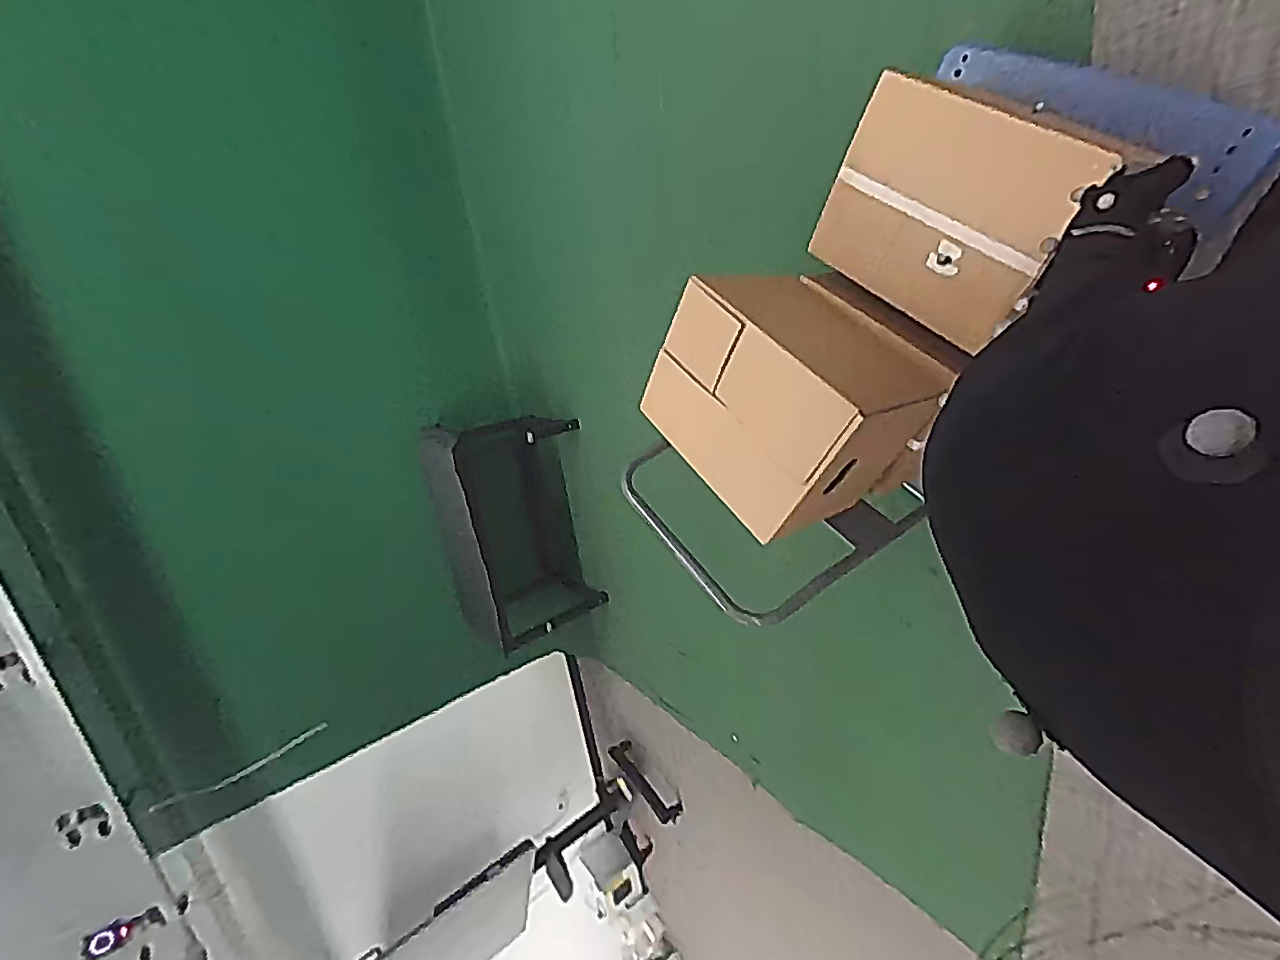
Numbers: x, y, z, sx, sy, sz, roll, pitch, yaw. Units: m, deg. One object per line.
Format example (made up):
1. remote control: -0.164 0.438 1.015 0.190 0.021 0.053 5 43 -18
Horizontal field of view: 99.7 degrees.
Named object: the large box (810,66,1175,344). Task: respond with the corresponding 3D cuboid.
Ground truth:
1. large box: 0.610 -0.506 0.992 0.408 0.320 0.320 48 142 29
